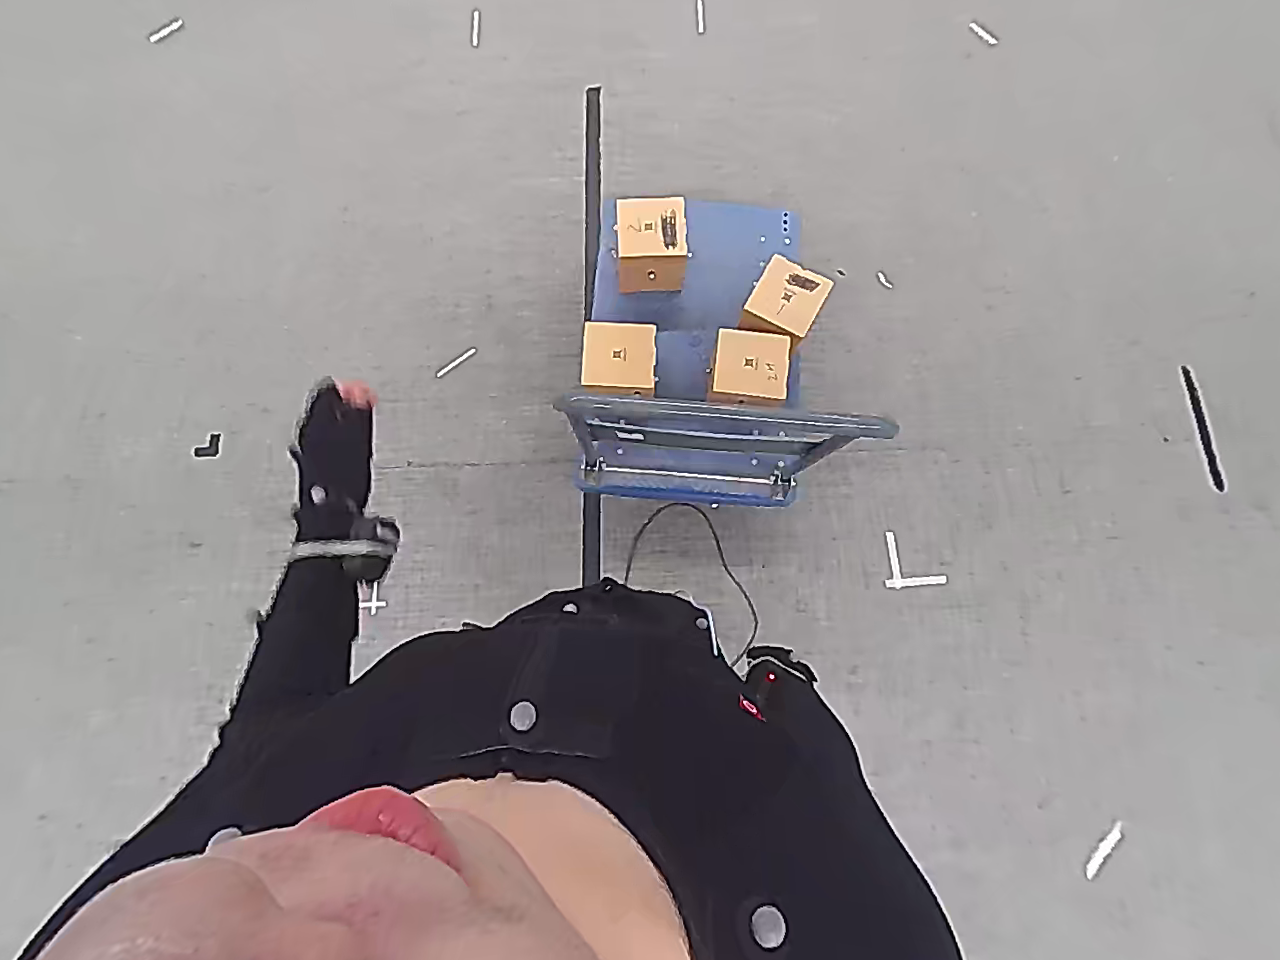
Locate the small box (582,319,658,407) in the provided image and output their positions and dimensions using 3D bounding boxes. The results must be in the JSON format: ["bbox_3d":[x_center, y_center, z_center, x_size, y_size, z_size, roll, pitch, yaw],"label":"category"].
[{"bbox_3d":[-0.047,-0.290,1.368,0.179,0.176,0.168,3,79,-1],"label":"small box"}]

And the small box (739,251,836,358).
[{"bbox_3d":[0.369,-0.442,1.397,0.168,0.176,0.179,29,81,6],"label":"small box"}]

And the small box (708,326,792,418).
[{"bbox_3d":[0.270,-0.266,1.361,0.179,0.176,0.168,8,79,2],"label":"small box"}]
